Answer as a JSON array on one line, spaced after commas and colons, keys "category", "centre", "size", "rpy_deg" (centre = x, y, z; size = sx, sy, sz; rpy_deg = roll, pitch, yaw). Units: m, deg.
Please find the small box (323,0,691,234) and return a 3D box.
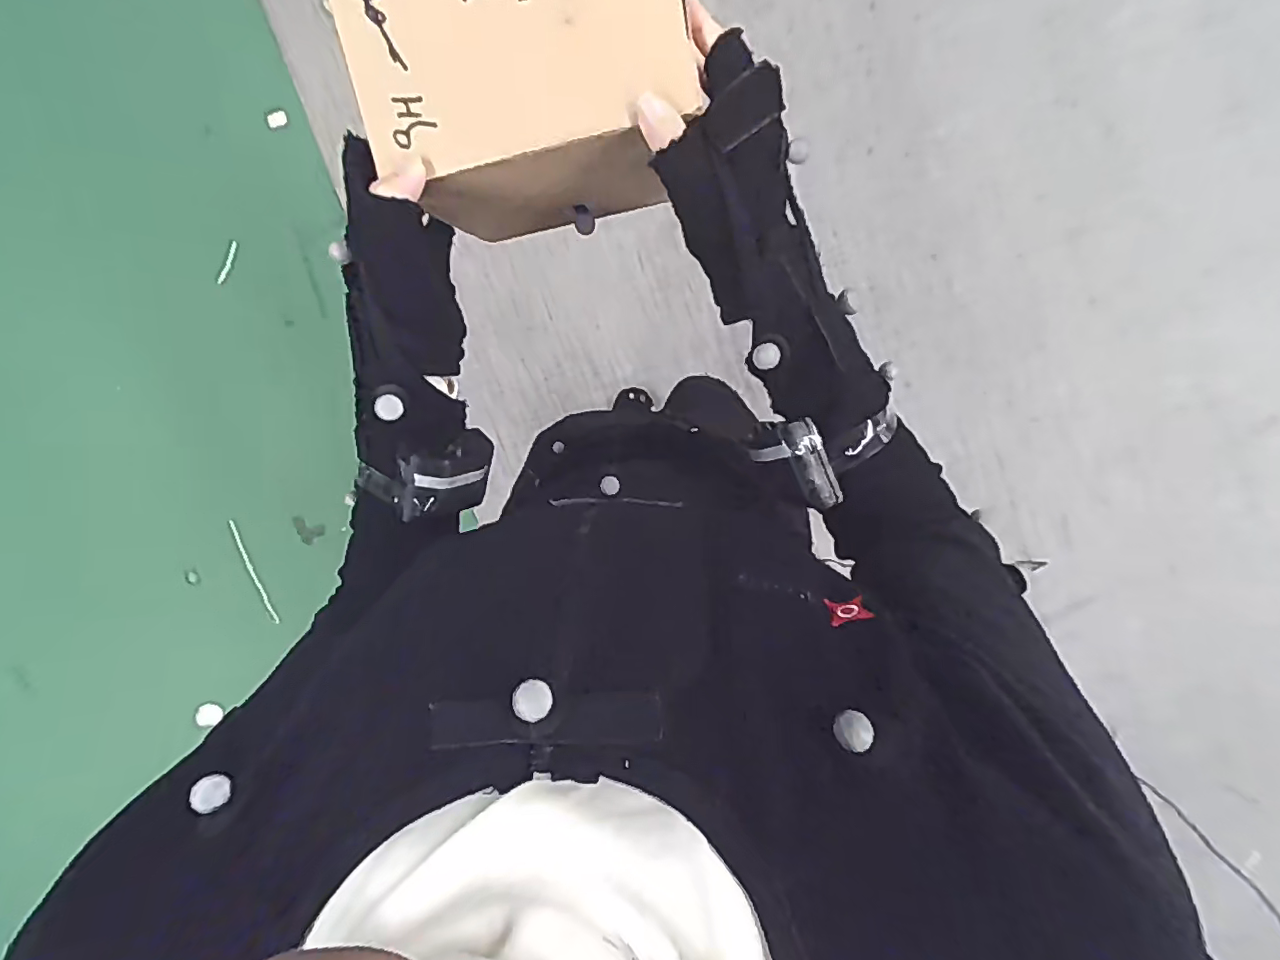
[{"category": "small box", "centre": [-0.067, -0.270, 0.338], "size": [0.179, 0.176, 0.168], "rpy_deg": [-9, 103, 7]}]
